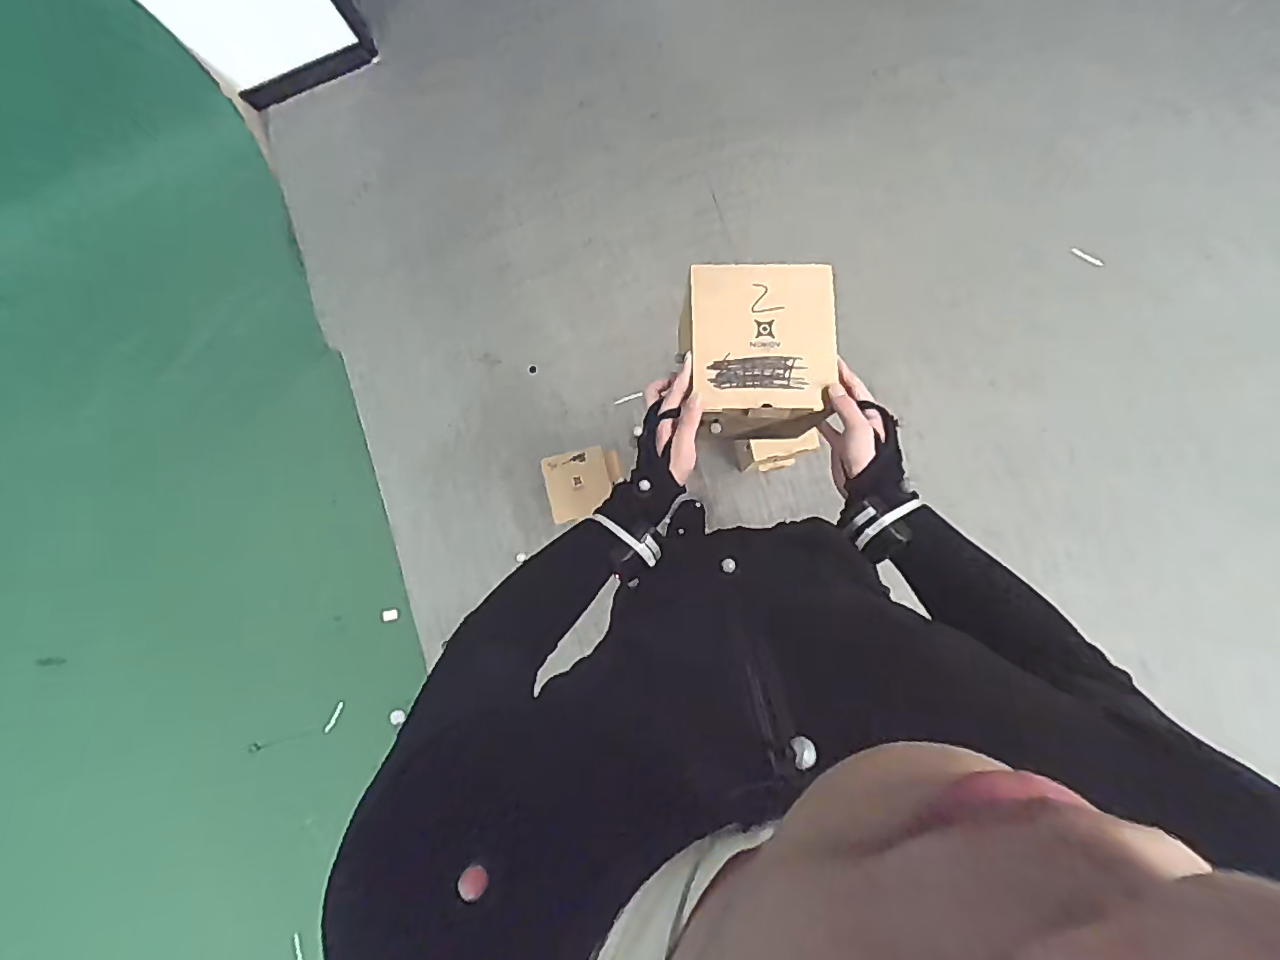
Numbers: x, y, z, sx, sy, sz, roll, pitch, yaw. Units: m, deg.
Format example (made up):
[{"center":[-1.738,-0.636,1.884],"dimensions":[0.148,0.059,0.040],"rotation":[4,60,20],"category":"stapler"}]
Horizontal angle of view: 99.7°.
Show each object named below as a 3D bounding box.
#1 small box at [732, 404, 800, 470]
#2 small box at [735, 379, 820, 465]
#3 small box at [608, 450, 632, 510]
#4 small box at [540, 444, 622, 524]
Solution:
[{"center":[0.358,-0.128,1.564],"dimensions":[0.168,0.176,0.179],"rotation":[-6,87,7],"category":"small box"},{"center":[0.349,-0.143,1.404],"dimensions":[0.168,0.176,0.179],"rotation":[-12,86,4],"category":"small box"},{"center":[-0.131,0.015,1.606],"dimensions":[0.179,0.176,0.168],"rotation":[-12,86,5],"category":"small box"},{"center":[-0.151,0.011,1.444],"dimensions":[0.168,0.176,0.179],"rotation":[-13,87,5],"category":"small box"}]
